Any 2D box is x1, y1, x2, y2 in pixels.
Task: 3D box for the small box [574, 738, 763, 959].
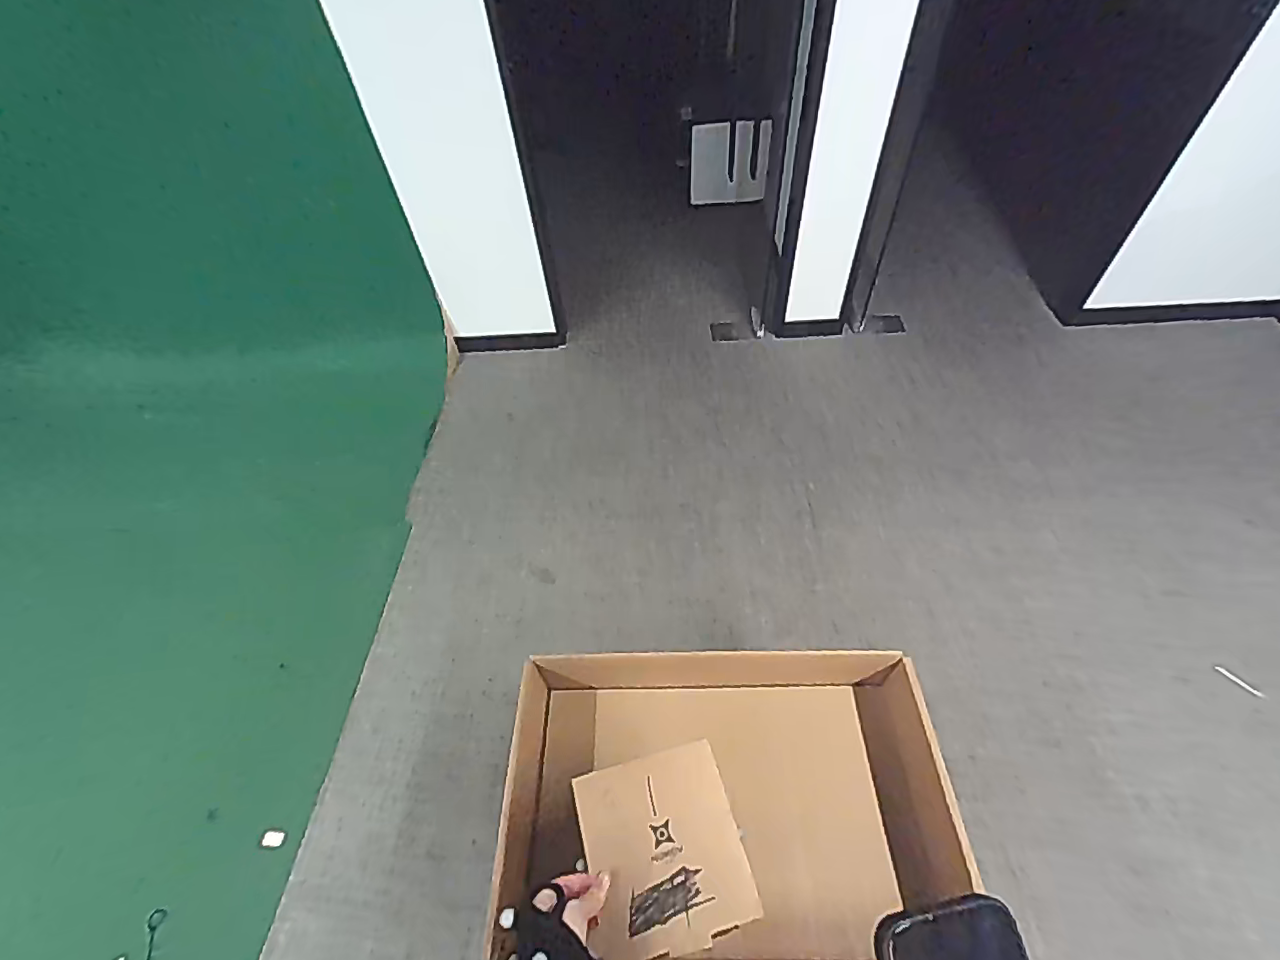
[{"bbox_3d":[0.025,0.436,0.641,0.168,0.176,0.179,-13,53,-10],"label":"small box"}]
